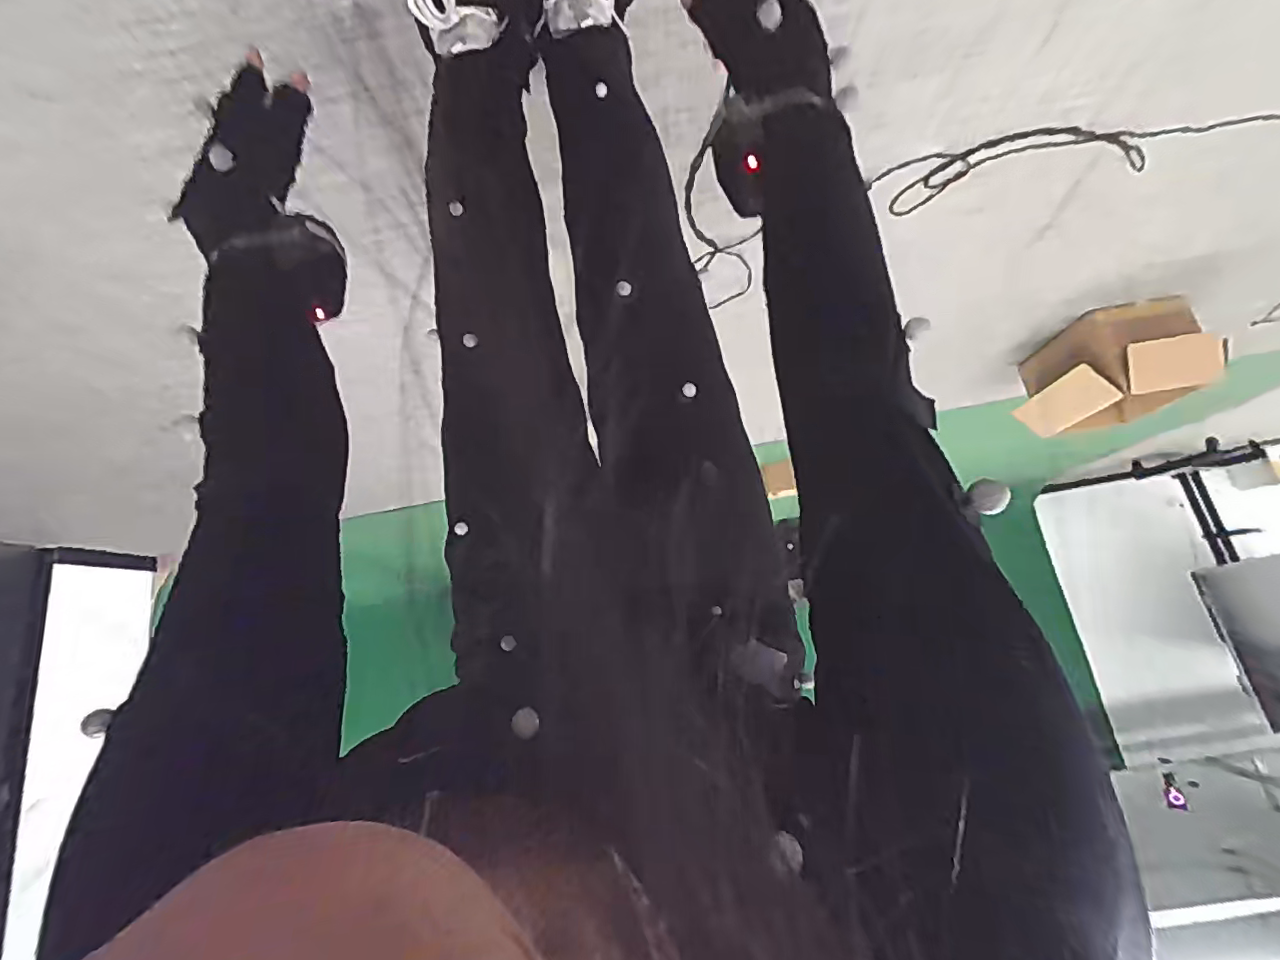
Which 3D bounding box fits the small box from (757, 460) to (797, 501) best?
[{"bbox_3d":[0.757,0.002,2.999,0.179,0.176,0.168,-12,164,5],"label":"small box"}]
